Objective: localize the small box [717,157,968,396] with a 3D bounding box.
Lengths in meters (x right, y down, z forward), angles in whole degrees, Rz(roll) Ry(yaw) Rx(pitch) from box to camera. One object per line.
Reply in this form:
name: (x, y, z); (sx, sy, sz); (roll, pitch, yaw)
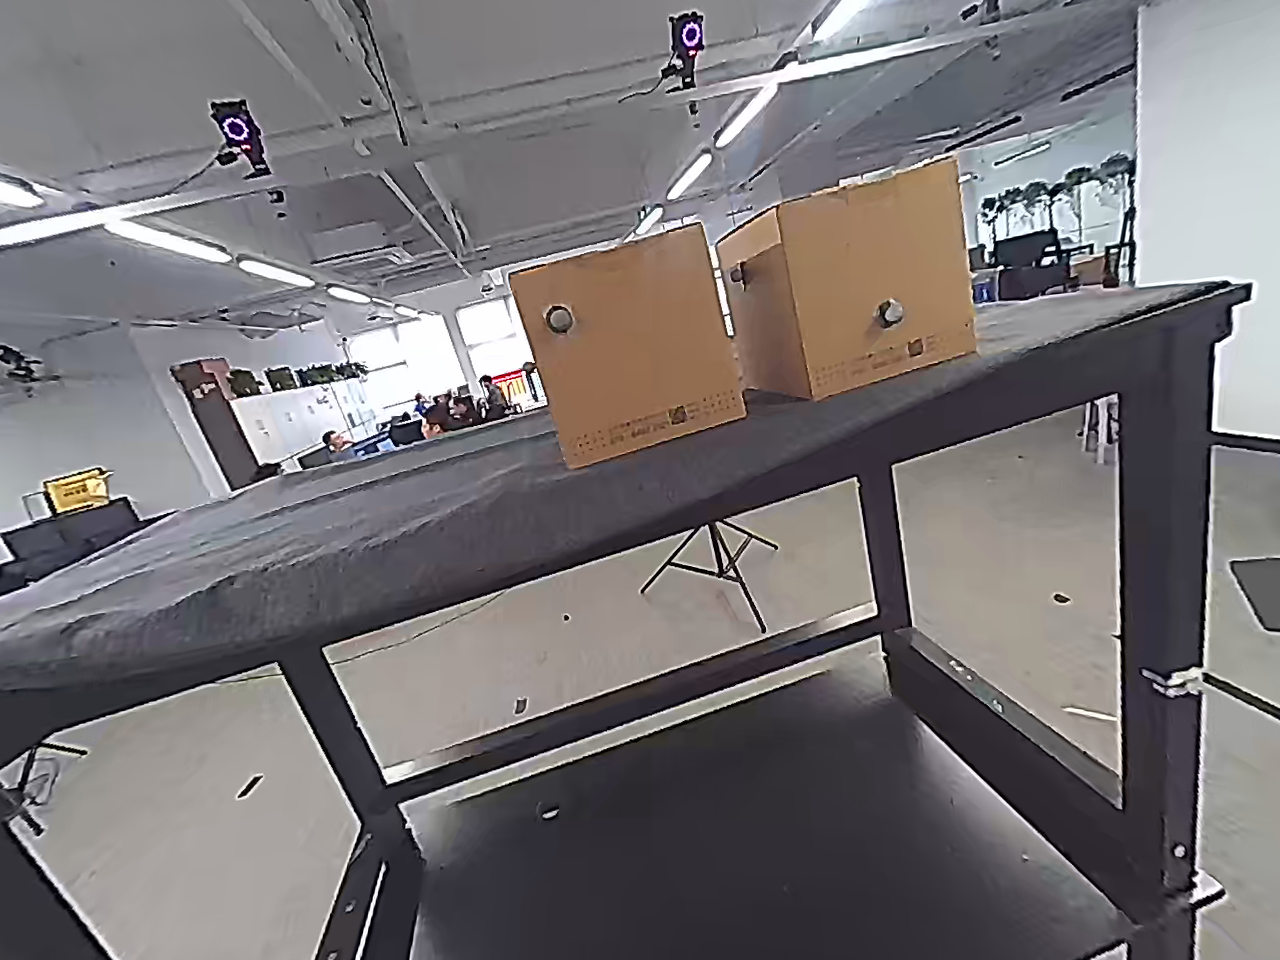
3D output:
small box: (0.194, -0.189, 0.546); (0.168, 0.176, 0.179); (-18, 16, -5)
